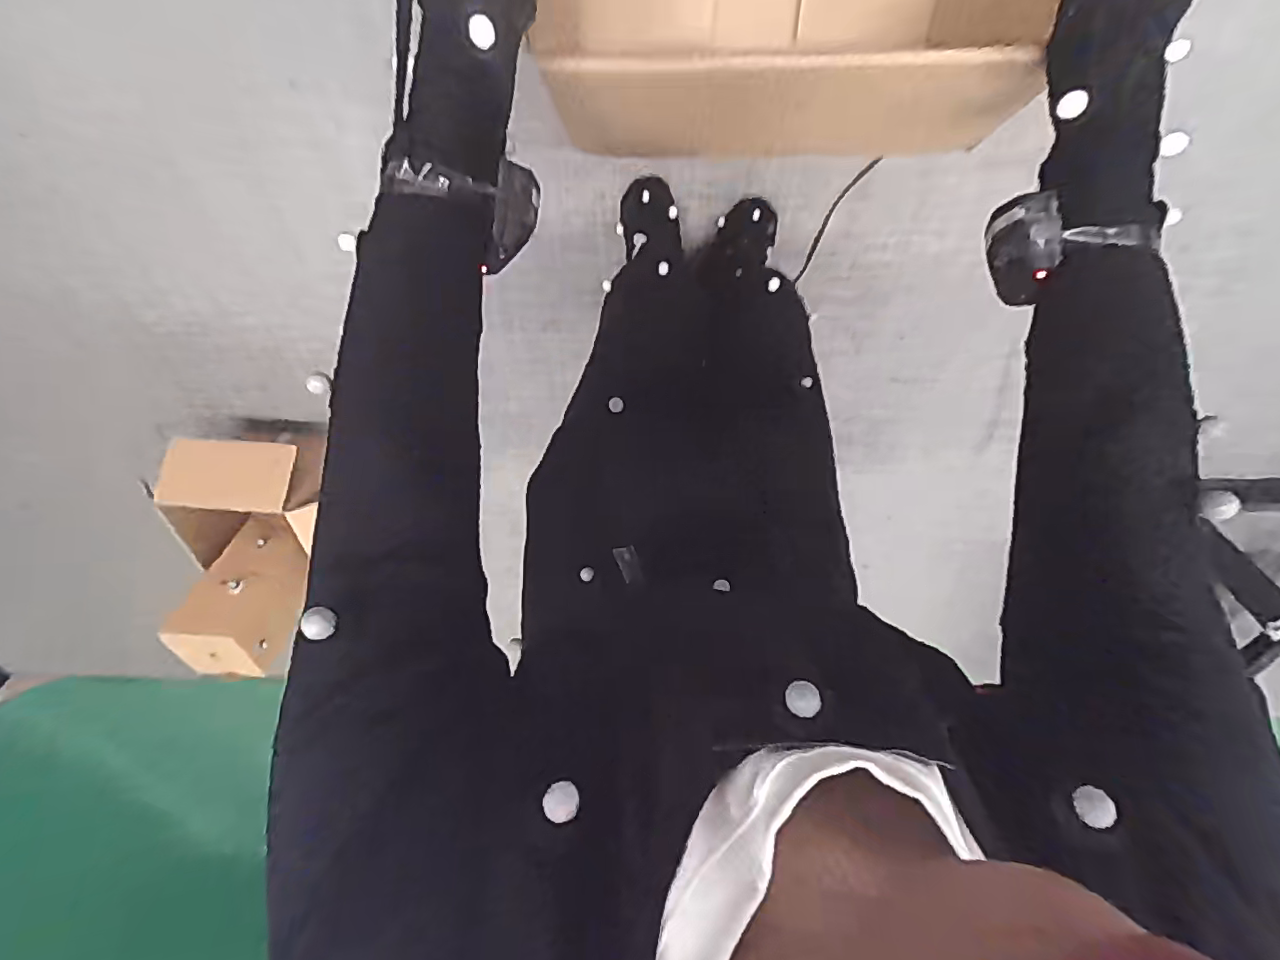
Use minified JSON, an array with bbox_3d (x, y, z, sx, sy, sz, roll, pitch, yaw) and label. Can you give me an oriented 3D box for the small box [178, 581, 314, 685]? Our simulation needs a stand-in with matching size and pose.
[{"bbox_3d":[-0.916,0.362,1.280,0.168,0.176,0.179,2,132,1],"label":"small box"}]
